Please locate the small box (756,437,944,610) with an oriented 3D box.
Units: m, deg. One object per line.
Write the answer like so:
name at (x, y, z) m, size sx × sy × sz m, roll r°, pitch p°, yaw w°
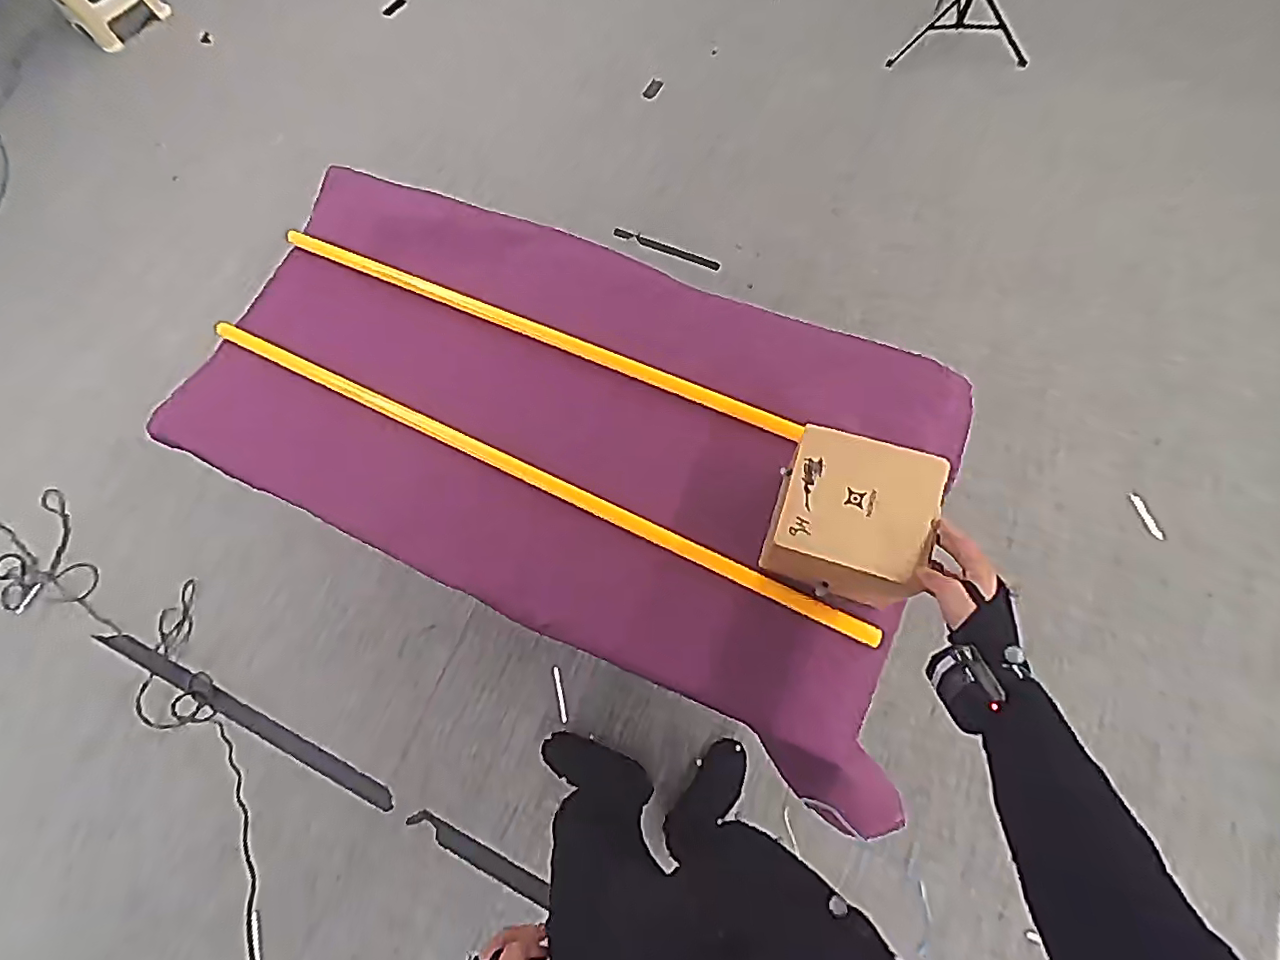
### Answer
small box at (0.268, 0.067, 0.725) m, size 0.179 × 0.176 × 0.168 m, roll 18°, pitch 74°, yaw 11°
